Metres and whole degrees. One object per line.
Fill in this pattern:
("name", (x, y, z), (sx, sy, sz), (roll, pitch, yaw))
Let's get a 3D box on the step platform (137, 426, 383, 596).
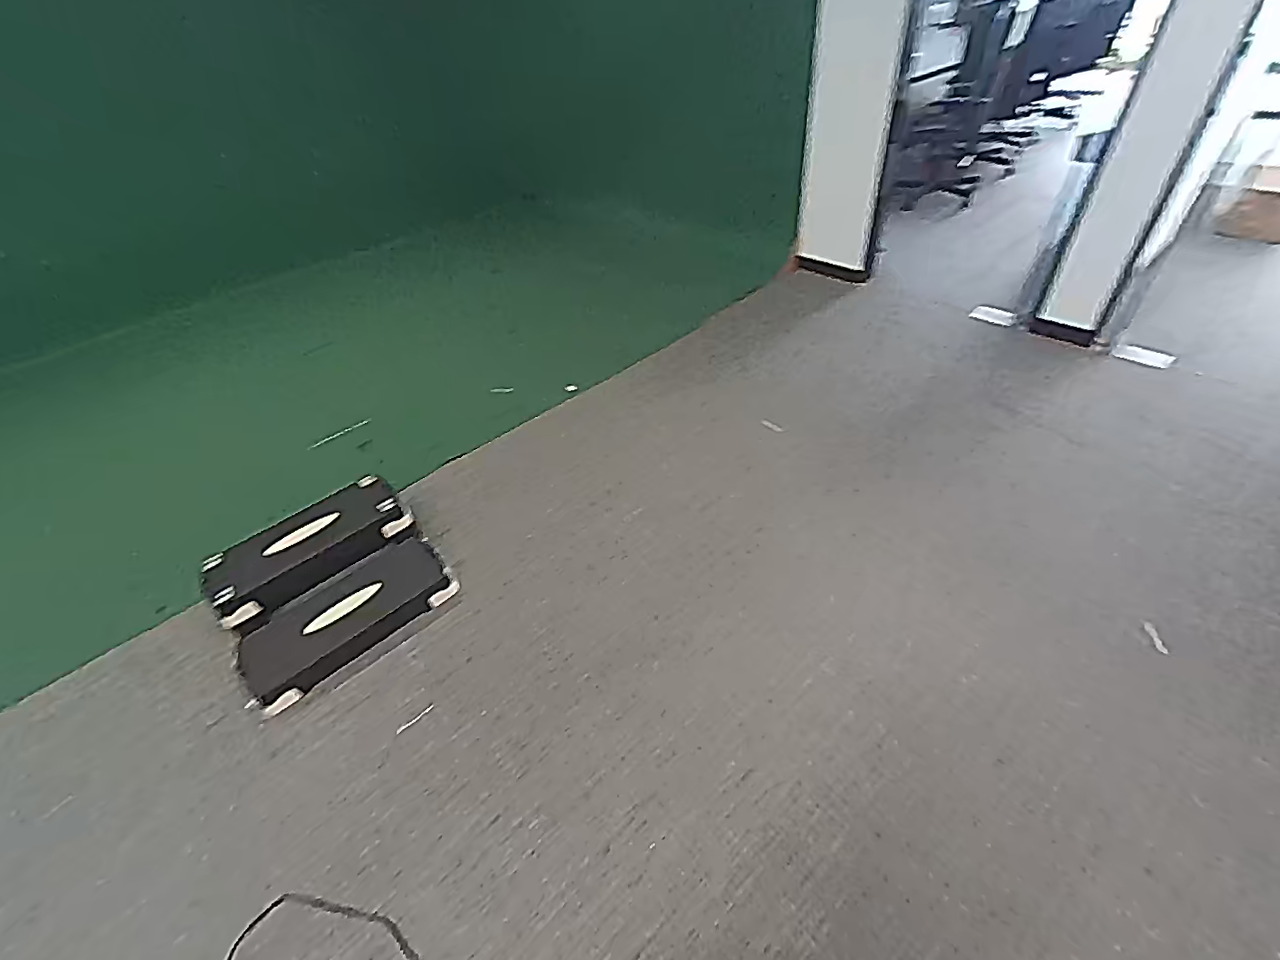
("step platform", (-1.261, 0.089, 1.850), (0.684, 0.204, 0.286), (-34, 50, -24))
